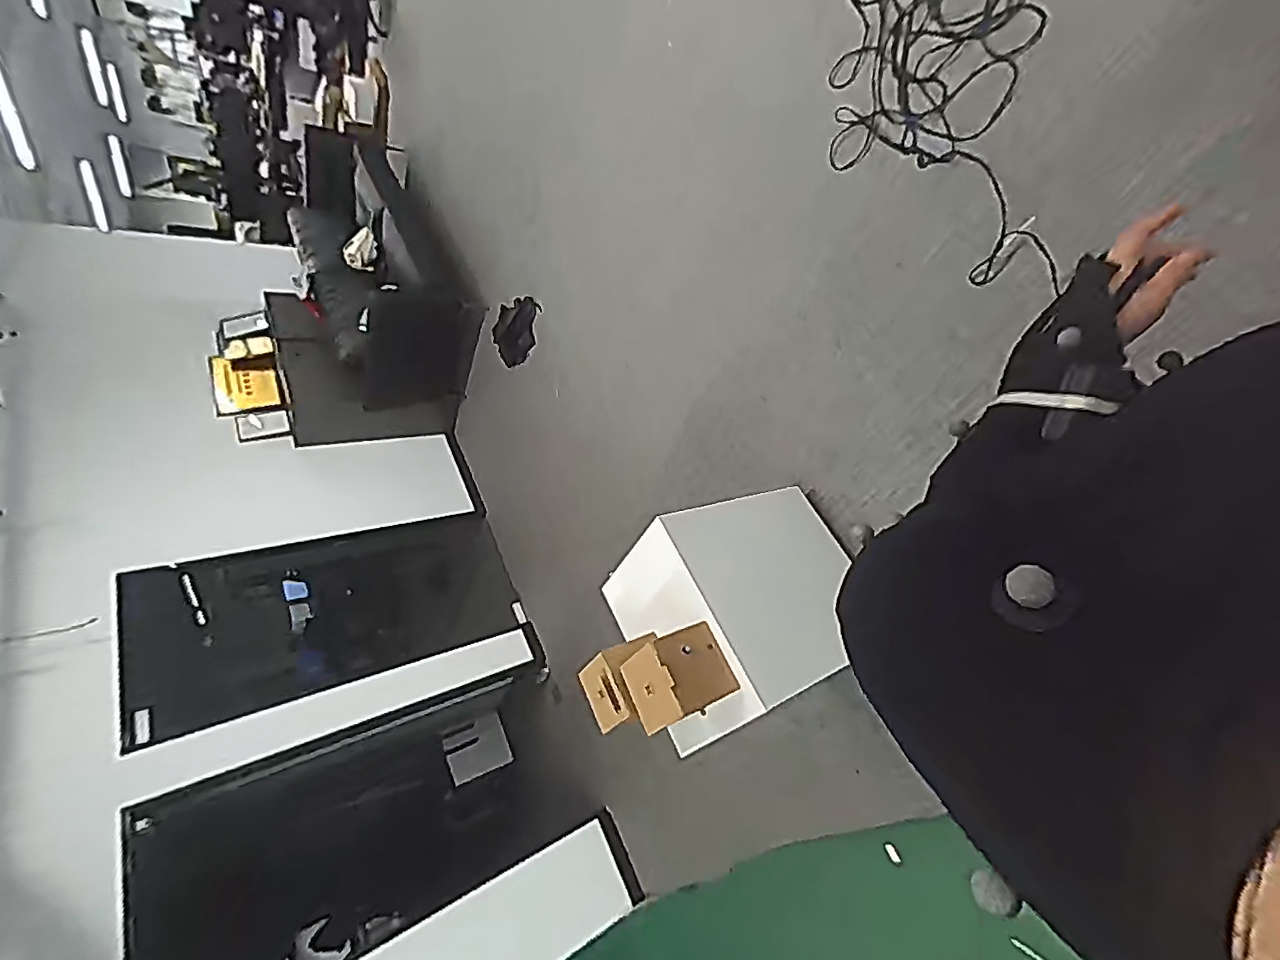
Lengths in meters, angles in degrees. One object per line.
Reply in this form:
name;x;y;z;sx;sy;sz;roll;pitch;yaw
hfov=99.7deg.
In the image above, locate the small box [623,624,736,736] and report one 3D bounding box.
small box;0.092;0.449;1.225;0.168;0.176;0.179;63;142;26
